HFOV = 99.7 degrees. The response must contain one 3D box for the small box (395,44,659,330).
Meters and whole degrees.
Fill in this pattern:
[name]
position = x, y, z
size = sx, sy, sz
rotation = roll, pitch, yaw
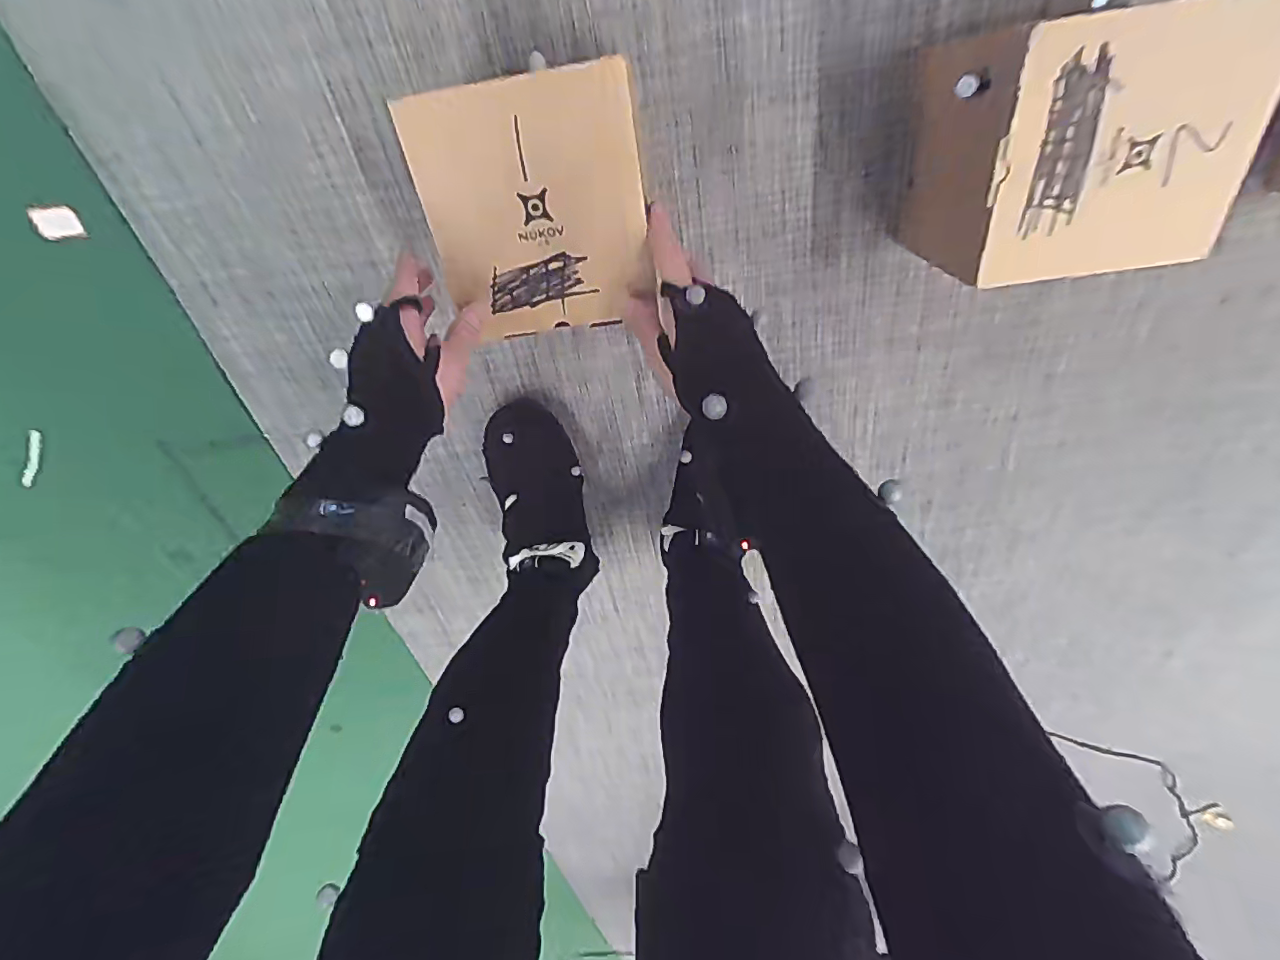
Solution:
[small box]
position = -0.072, -0.251, 0.468
size = 0.168, 0.176, 0.179
rotation = -6, 125, 5
